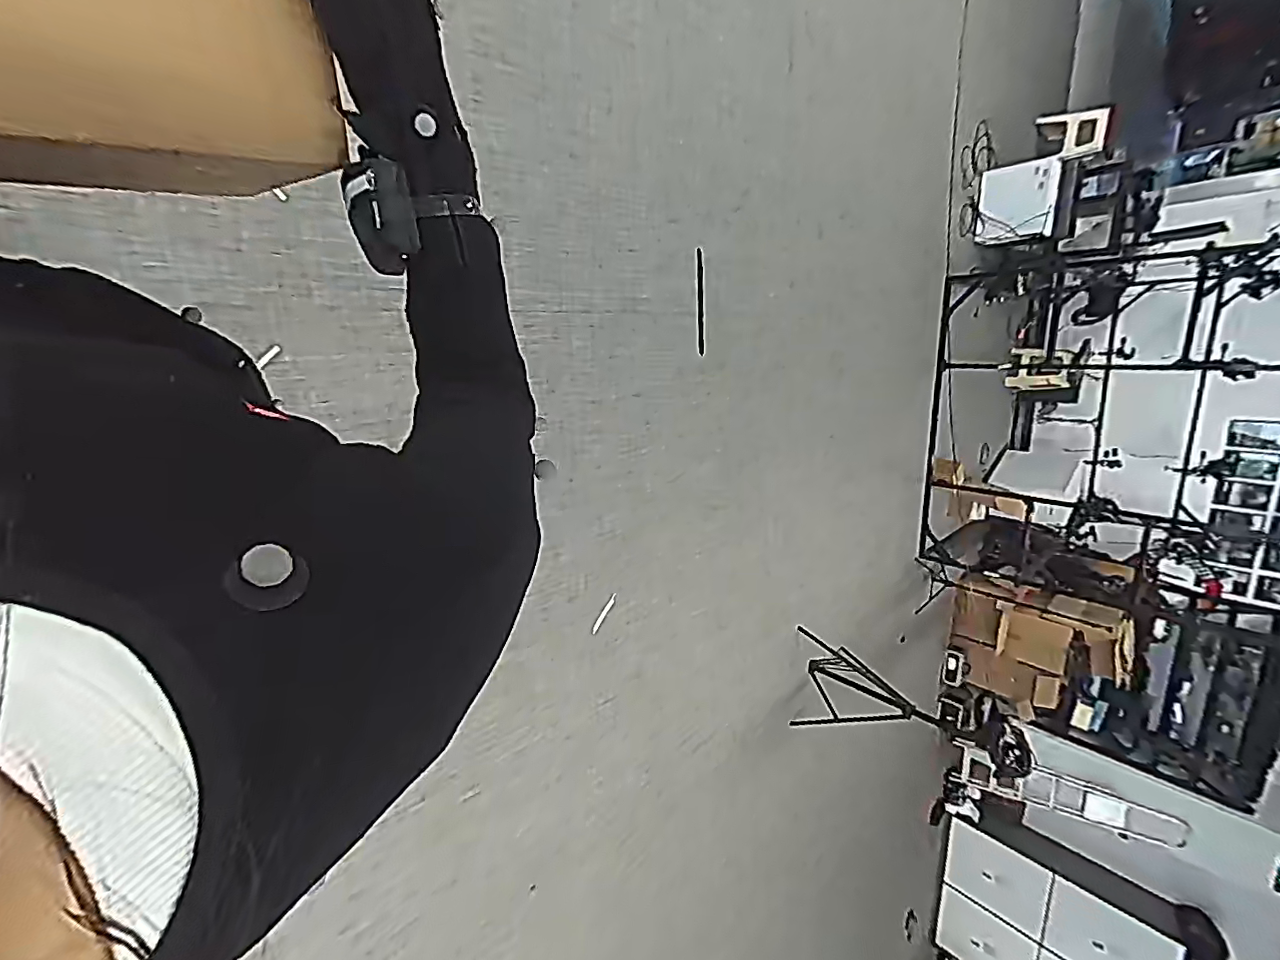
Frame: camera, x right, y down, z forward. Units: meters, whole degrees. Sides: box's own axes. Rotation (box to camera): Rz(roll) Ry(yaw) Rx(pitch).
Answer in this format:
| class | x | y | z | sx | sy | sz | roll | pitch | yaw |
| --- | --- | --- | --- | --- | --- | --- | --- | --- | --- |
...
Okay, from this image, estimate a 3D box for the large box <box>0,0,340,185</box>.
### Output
| class | x | y | z | sx | sy | sz | roll | pitch | yaw |
| --- | --- | --- | --- | --- | --- | --- | --- | --- | --- |
| large box | -0.452 | -0.350 | 0.284 | 0.408 | 0.320 | 0.320 | -21 | 122 | -41 |
